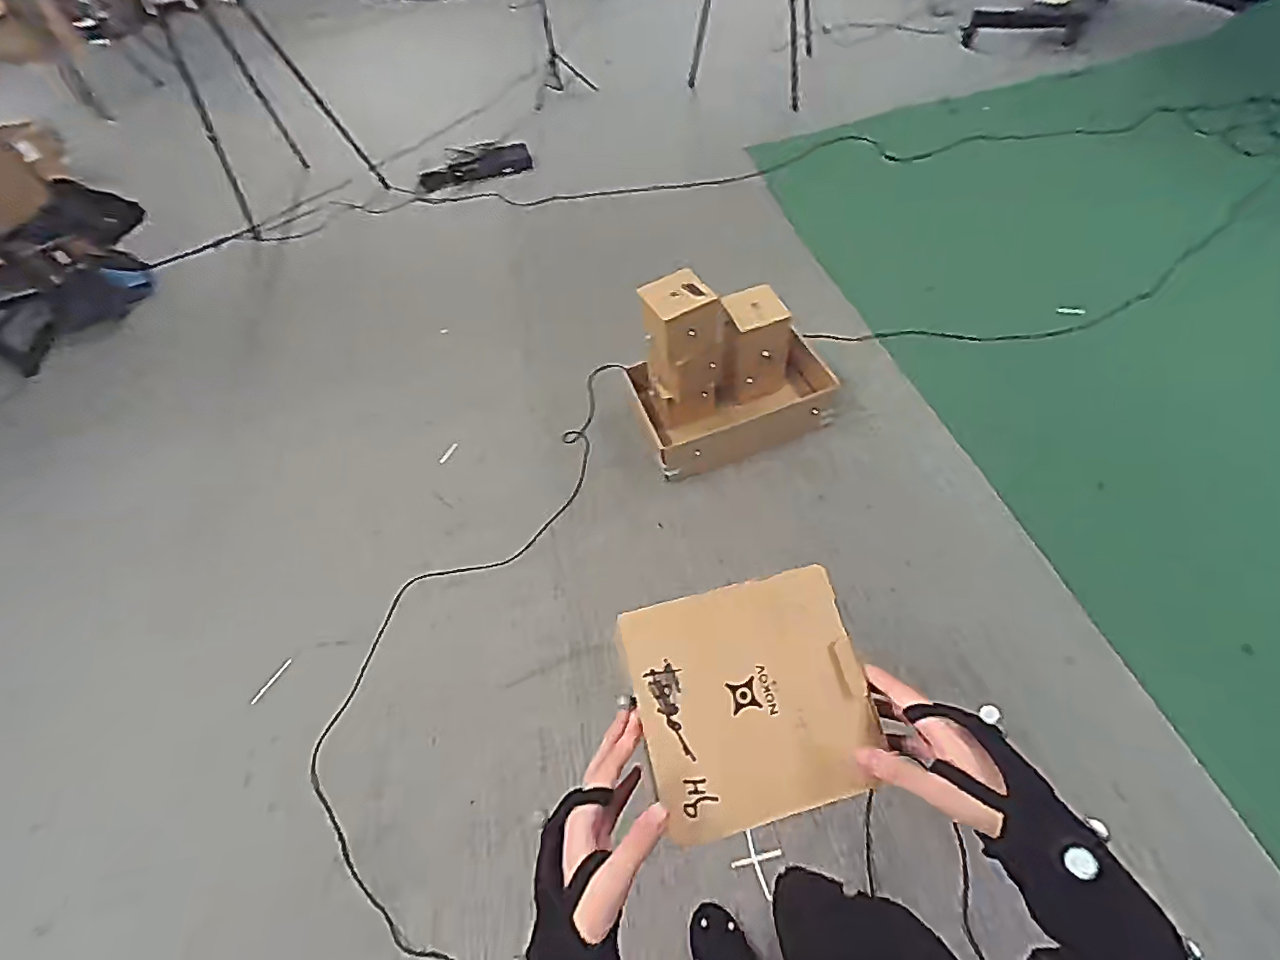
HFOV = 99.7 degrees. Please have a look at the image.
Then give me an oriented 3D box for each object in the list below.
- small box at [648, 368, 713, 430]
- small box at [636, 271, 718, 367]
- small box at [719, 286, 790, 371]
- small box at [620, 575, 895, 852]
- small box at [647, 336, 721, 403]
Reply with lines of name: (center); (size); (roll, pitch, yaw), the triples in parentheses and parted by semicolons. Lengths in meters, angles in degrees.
small box: (0.142, -0.297, 1.840); (0.179, 0.176, 0.168); (-19, 56, -5)
small box: (0.107, -0.462, 1.560); (0.179, 0.176, 0.168); (-28, 57, -10)
small box: (0.360, -0.482, 1.729); (0.168, 0.176, 0.179); (-19, 55, -3)
small box: (0.082, 0.193, 0.483); (0.179, 0.176, 0.168); (-11, 71, -7)
small box: (0.135, -0.377, 1.698); (0.179, 0.176, 0.168); (-34, 59, -14)
